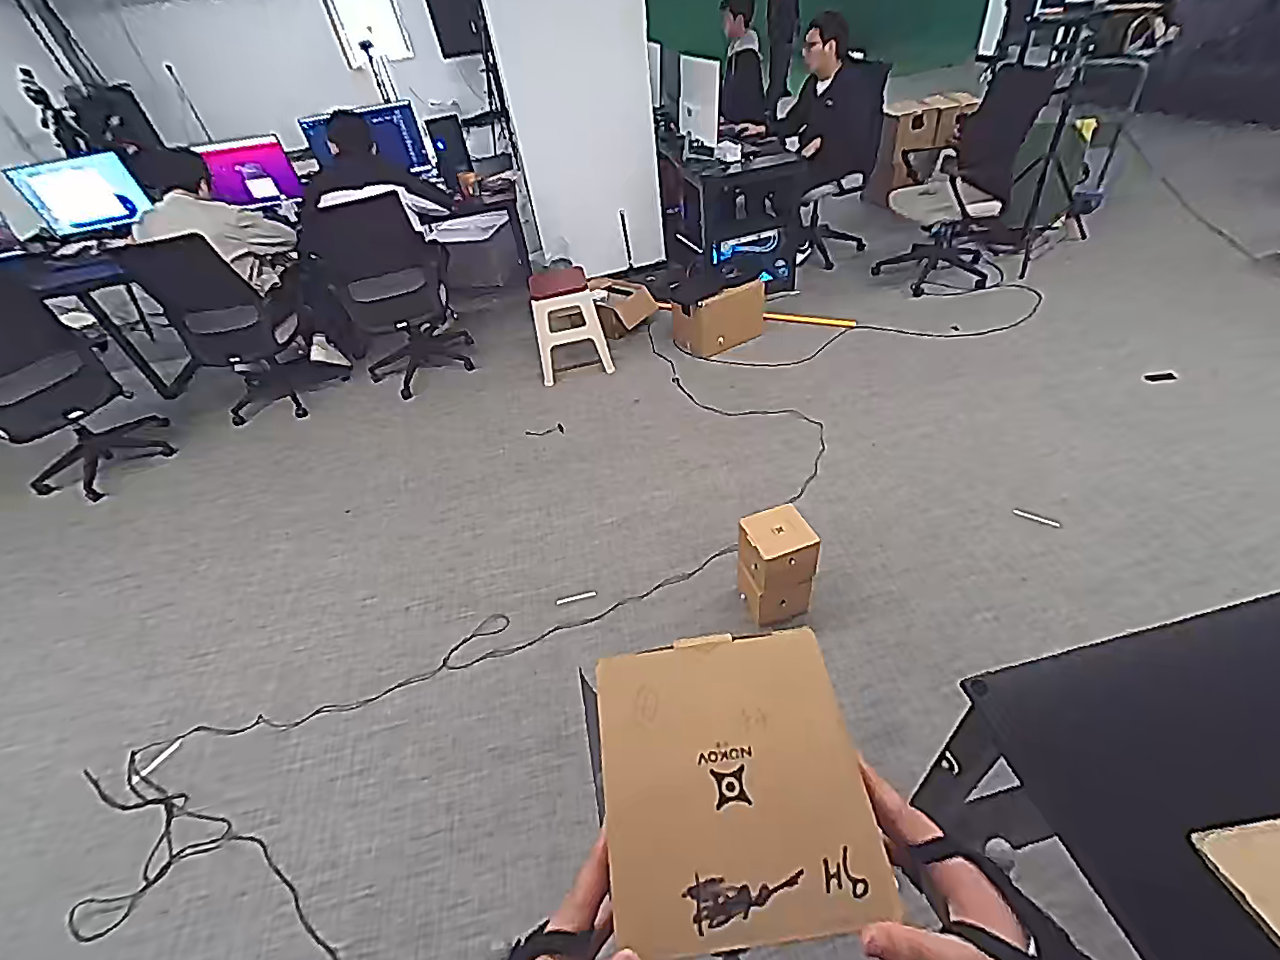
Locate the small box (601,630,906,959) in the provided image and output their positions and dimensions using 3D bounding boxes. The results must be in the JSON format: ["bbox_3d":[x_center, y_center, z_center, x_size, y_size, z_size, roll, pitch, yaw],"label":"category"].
[{"bbox_3d":[0.065,0.238,0.415,0.168,0.176,0.179,-8,53,0],"label":"small box"}]

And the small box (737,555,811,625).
[{"bbox_3d":[0.415,0.328,1.705,0.179,0.176,0.168,-16,42,-7],"label":"small box"}]

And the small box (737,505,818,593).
[{"bbox_3d":[0.400,0.207,1.598,0.179,0.176,0.168,-17,43,-10],"label":"small box"}]
